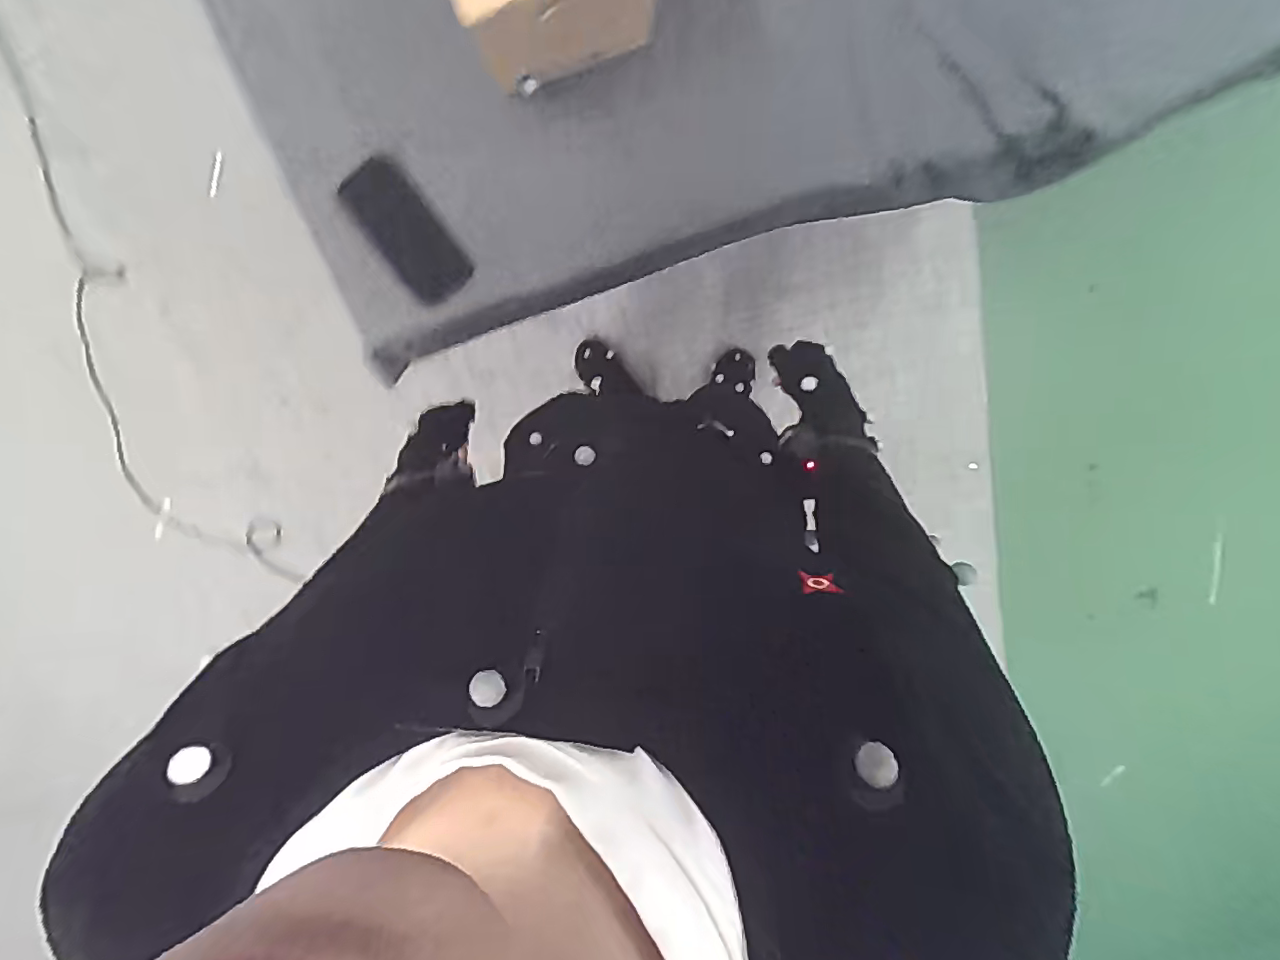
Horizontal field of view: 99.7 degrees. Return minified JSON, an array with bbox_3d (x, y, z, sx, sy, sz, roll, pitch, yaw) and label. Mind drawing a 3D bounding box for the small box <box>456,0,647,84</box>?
[{"bbox_3d":[-0.091,-0.486,0.474,0.168,0.176,0.179,-18,107,2],"label":"small box"}]
